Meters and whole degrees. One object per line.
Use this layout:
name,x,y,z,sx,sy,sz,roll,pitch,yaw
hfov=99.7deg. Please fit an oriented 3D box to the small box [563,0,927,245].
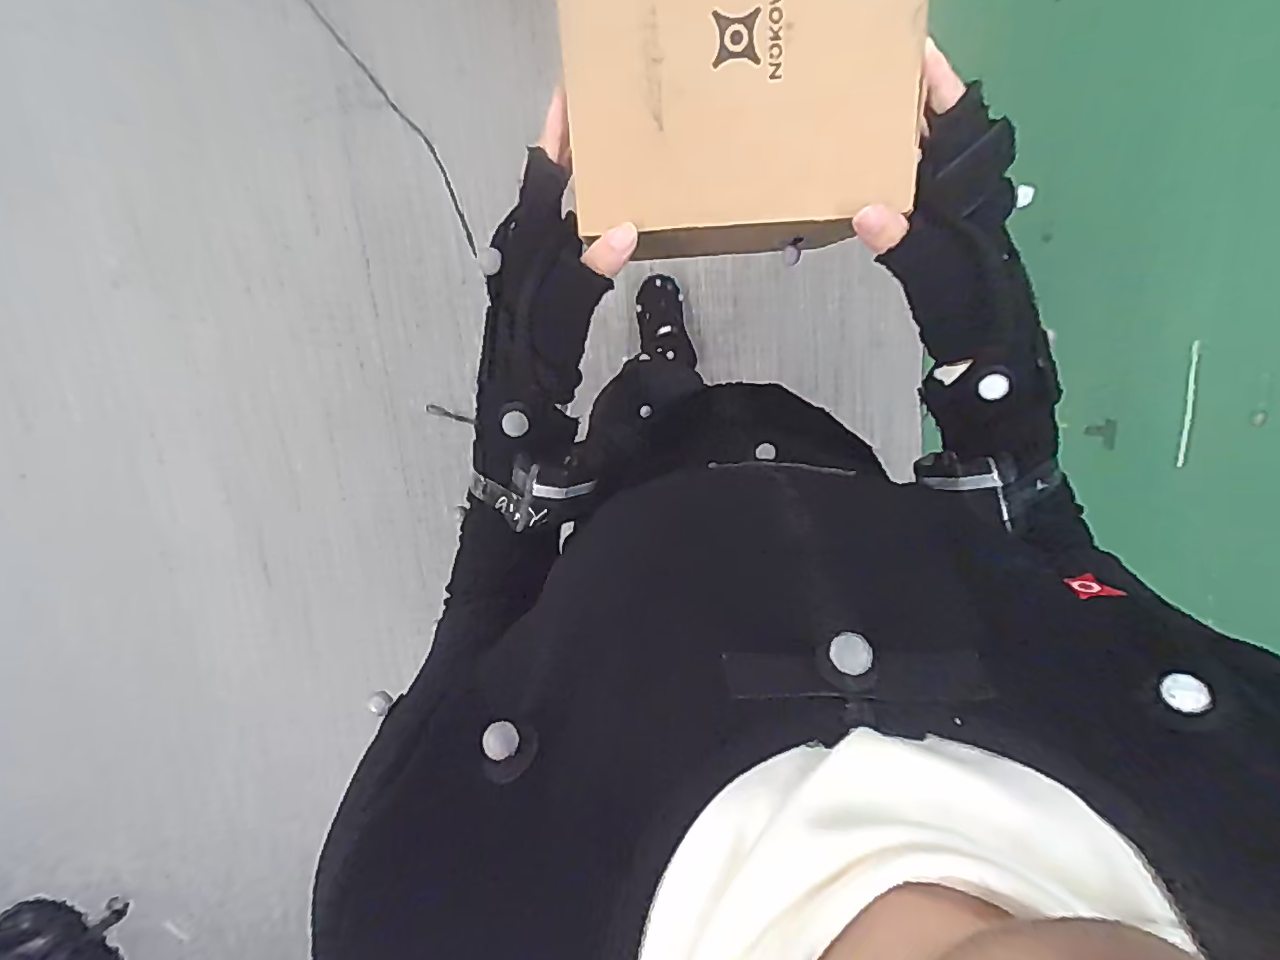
small box,0.051,-0.248,0.334,0.179,0.176,0.168,-4,107,3
